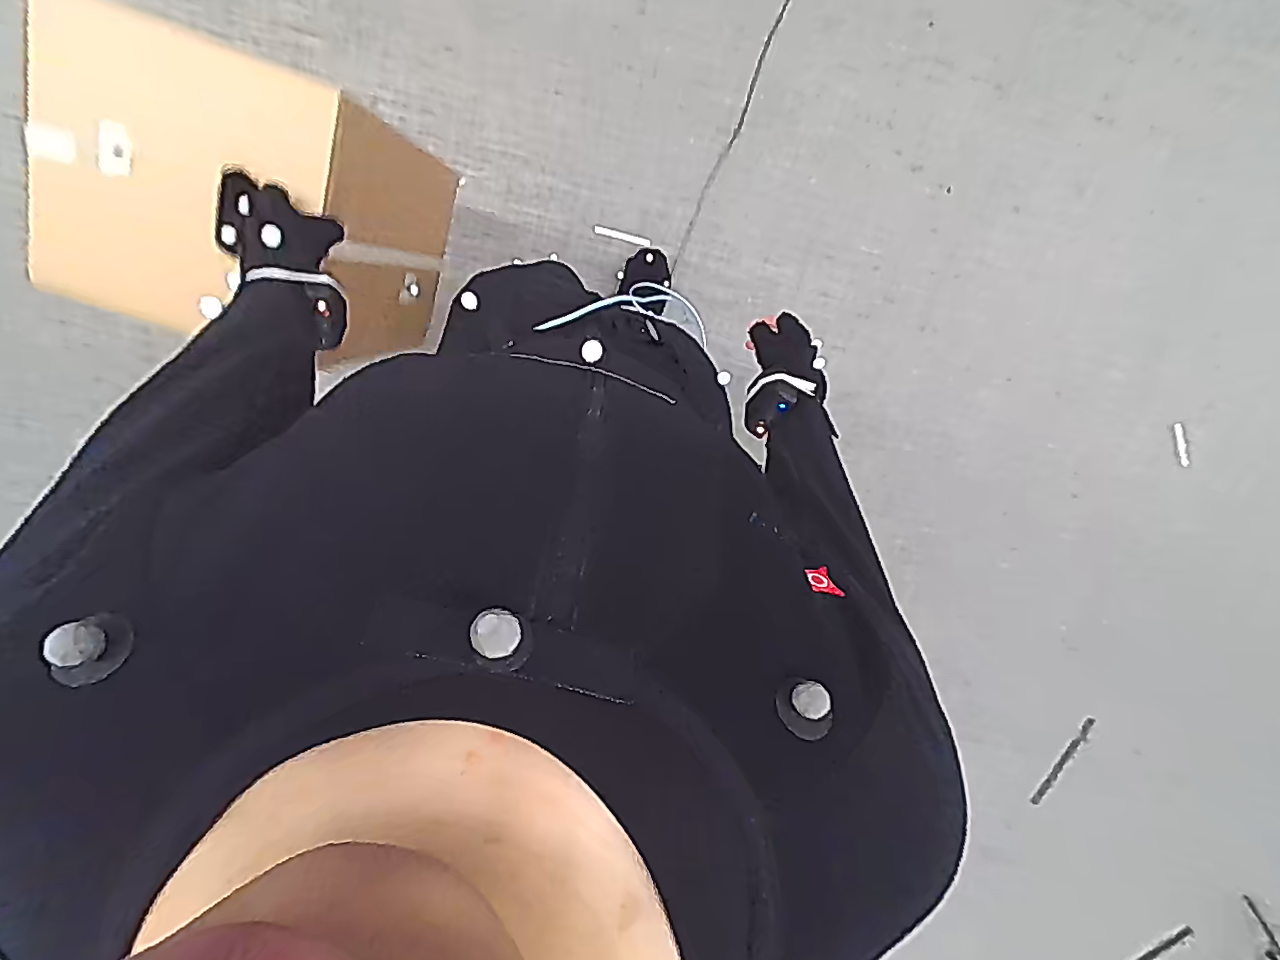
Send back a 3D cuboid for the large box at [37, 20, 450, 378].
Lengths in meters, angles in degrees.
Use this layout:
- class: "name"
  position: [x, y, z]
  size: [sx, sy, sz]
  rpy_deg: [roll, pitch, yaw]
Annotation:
- class: "large box"
  position: [-0.521, -0.371, 0.800]
  size: [0.320, 0.408, 0.320]
  rpy_deg: [17, 108, -6]
